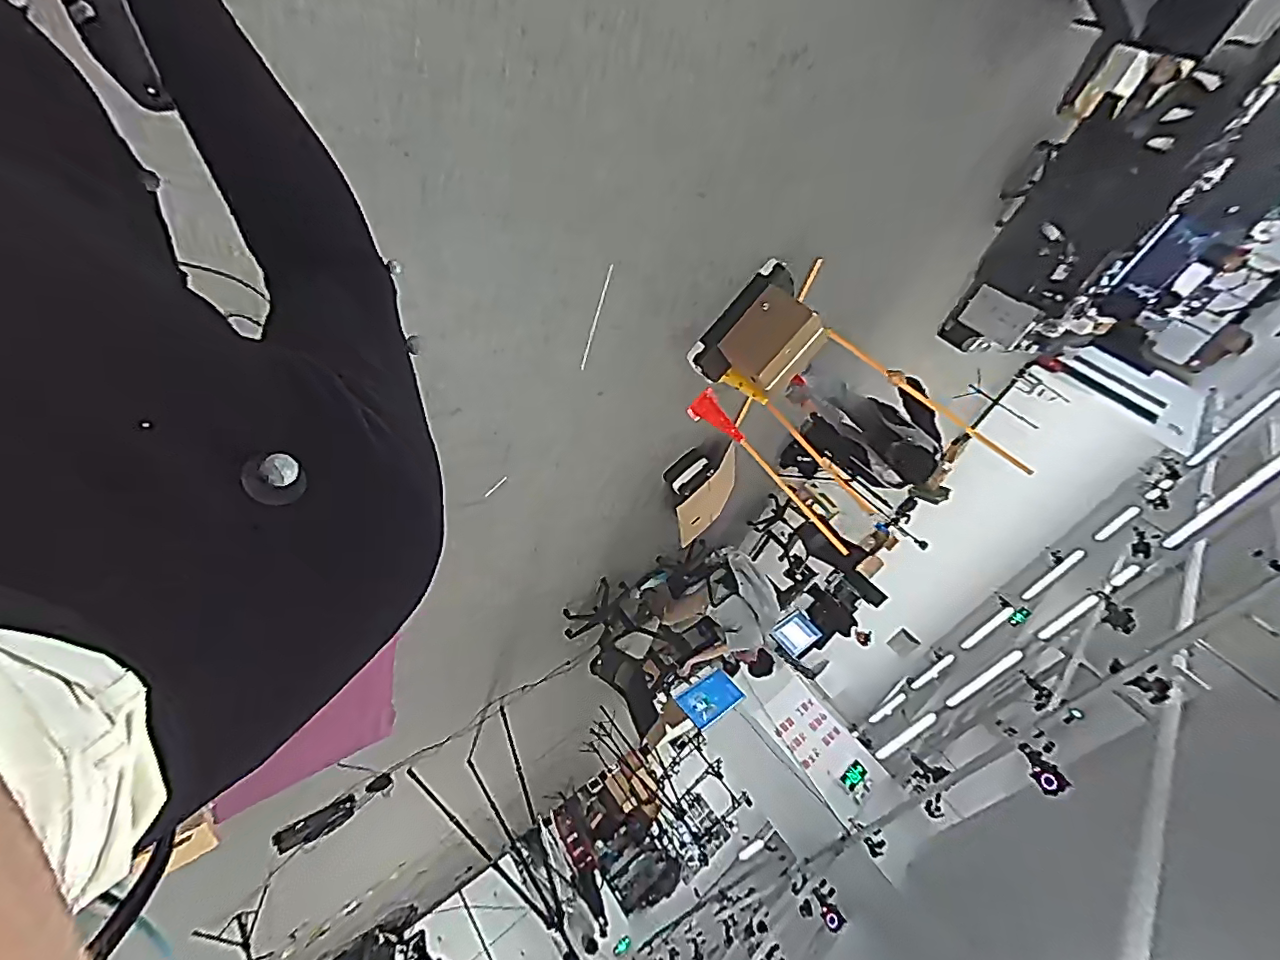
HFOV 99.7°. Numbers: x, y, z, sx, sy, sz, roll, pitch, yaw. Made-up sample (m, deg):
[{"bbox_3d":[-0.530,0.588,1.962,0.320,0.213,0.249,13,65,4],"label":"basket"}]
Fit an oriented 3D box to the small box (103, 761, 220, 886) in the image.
[{"bbox_3d":[-1.138,0.809,1.290,0.168,0.176,0.179,-19,145,-40],"label":"small box"}]
